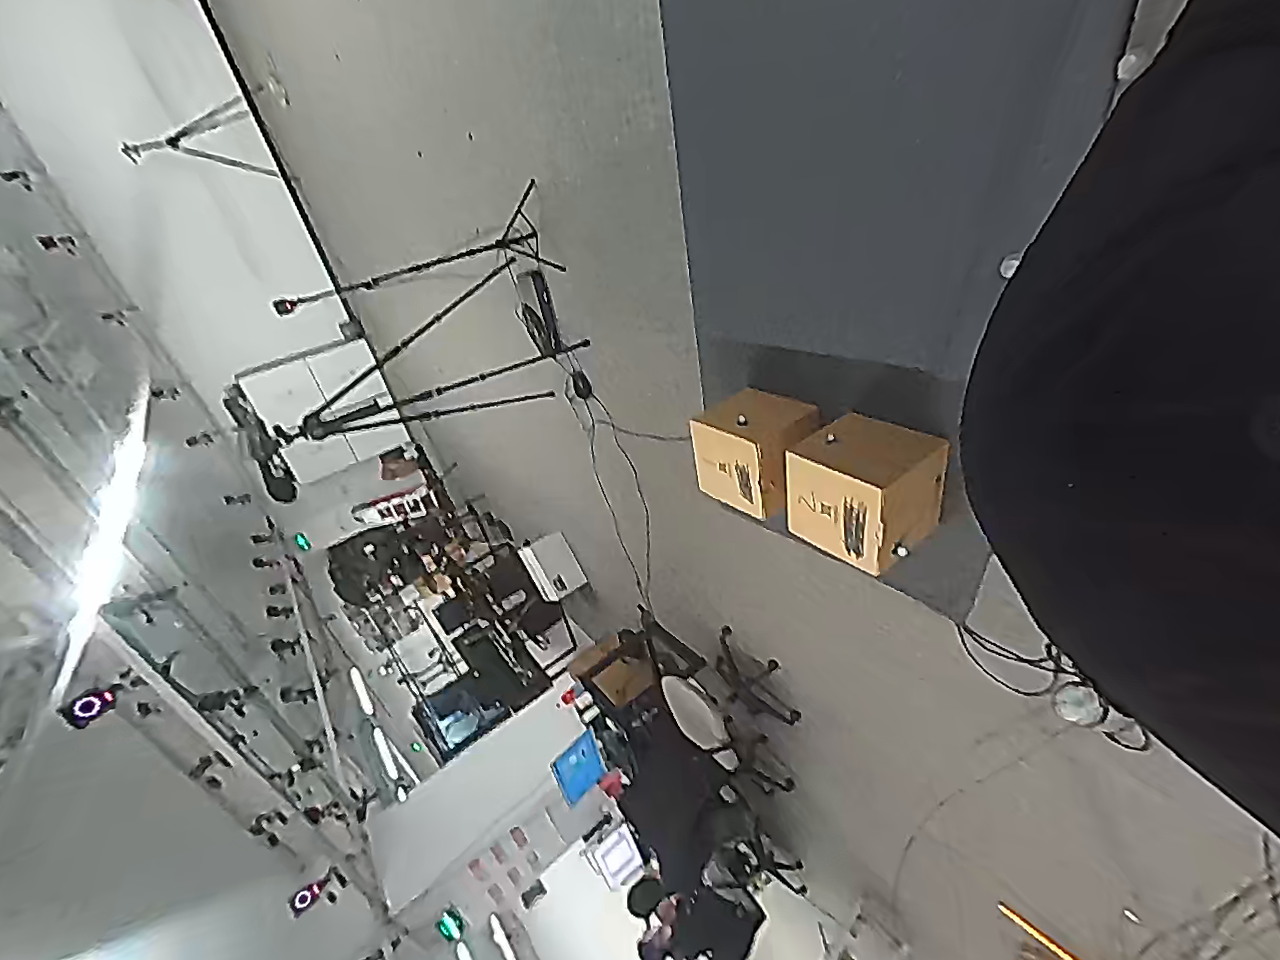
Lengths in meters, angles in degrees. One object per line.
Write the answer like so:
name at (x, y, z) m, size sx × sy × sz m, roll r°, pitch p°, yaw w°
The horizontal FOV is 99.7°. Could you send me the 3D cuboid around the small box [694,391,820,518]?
small box at (0.233, -0.058, 1.051) m, size 0.179 × 0.176 × 0.168 m, roll 28°, pitch 139°, yaw 48°
